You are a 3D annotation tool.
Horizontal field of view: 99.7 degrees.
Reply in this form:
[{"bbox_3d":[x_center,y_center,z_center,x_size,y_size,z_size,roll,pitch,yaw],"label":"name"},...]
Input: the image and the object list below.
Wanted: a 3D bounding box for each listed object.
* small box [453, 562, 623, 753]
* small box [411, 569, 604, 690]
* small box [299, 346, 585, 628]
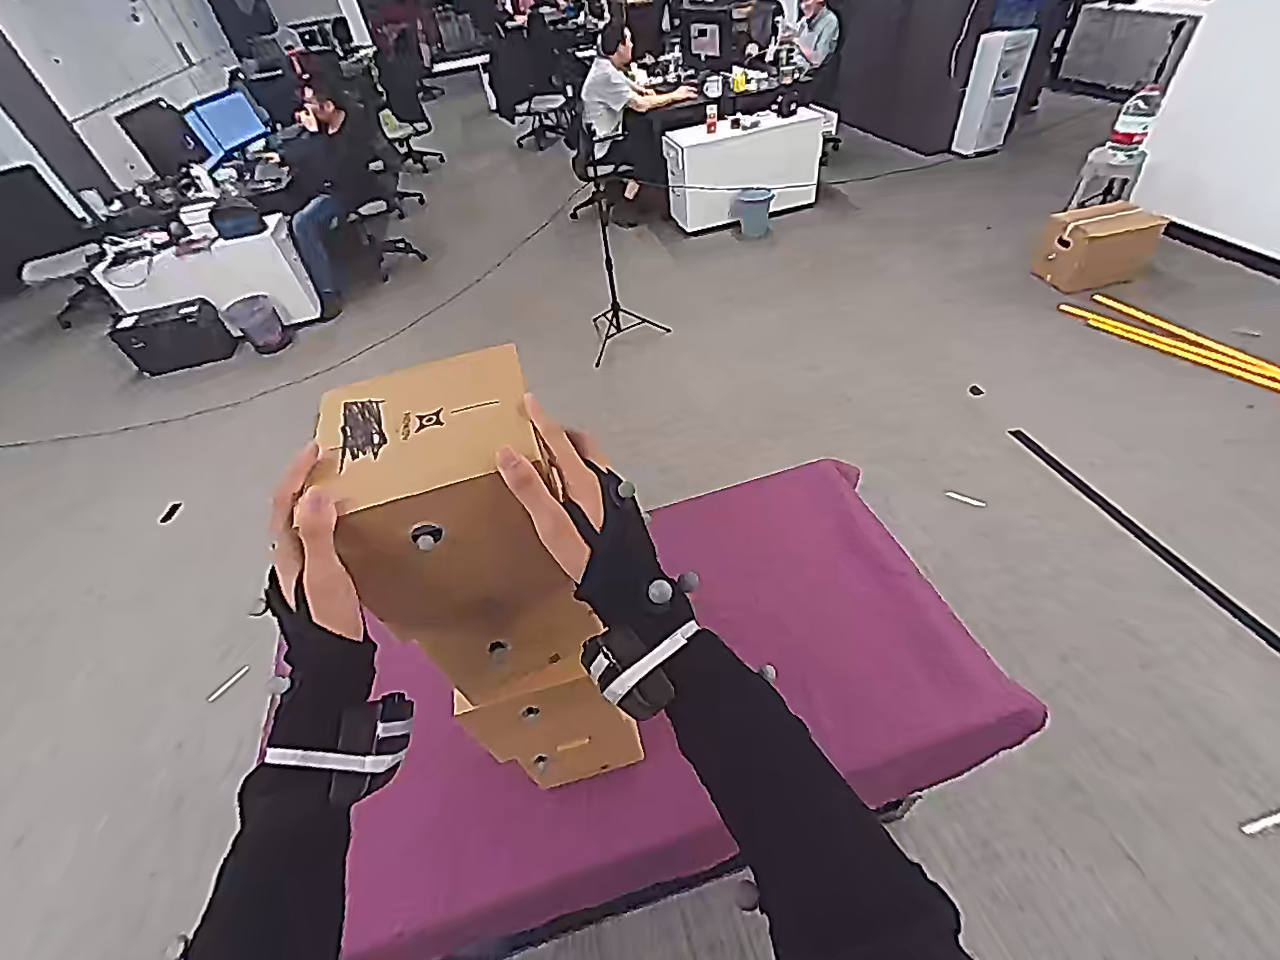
[{"bbox_3d":[-0.132,0.238,0.721,0.179,0.176,0.168,-14,46,-4],"label":"small box"},{"bbox_3d":[-0.152,0.114,0.618,0.168,0.176,0.179,-20,46,-10],"label":"small box"},{"bbox_3d":[-0.162,0.009,0.490,0.179,0.176,0.168,-15,46,-6],"label":"small box"}]
